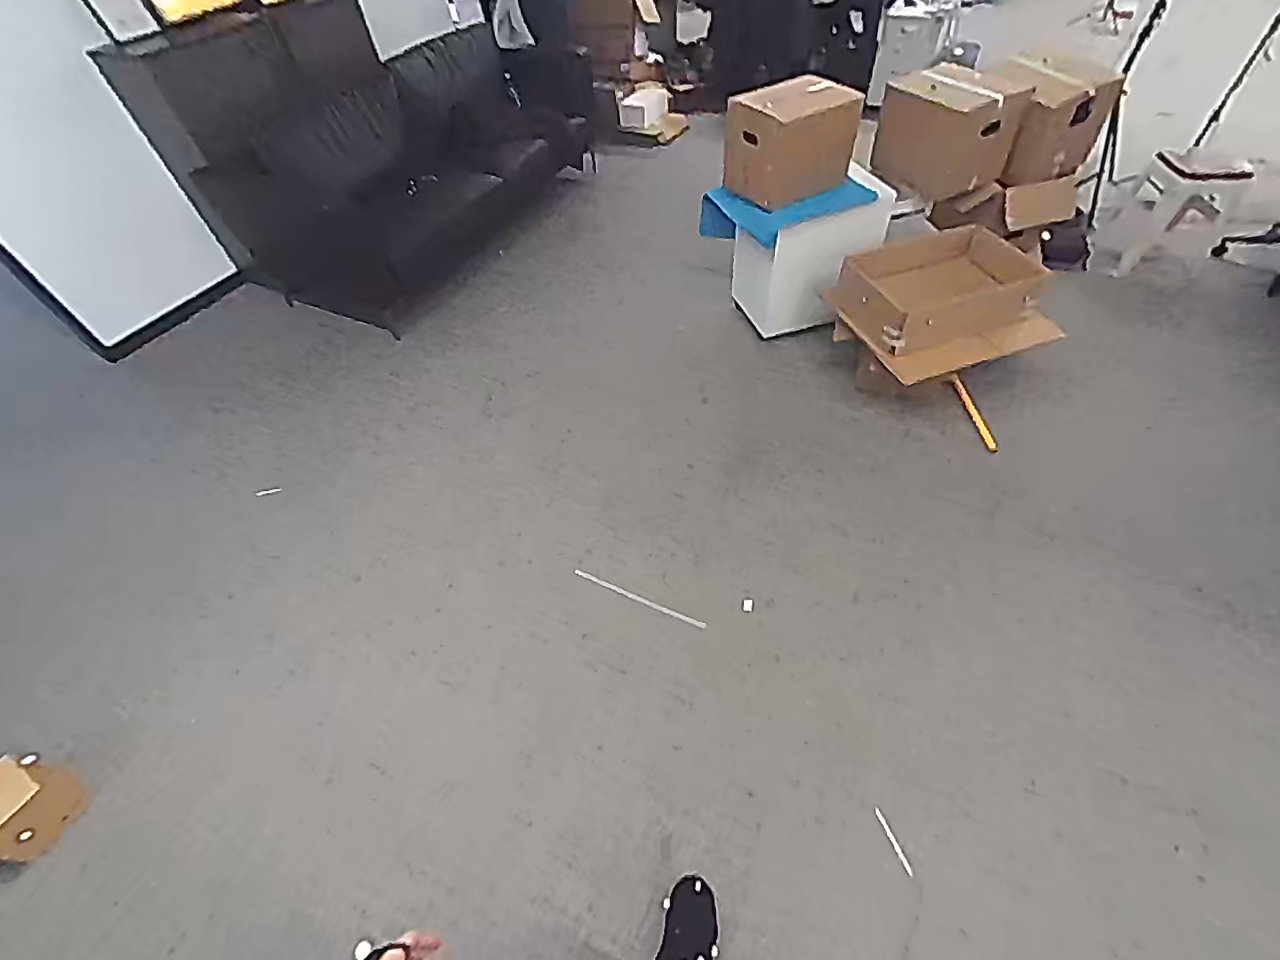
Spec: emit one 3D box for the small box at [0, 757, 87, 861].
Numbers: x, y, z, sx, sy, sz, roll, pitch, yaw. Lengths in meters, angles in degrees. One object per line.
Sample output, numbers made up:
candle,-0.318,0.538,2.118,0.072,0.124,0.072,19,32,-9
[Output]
small box,-1.612,0.854,1.397,0.179,0.176,0.168,20,55,20
